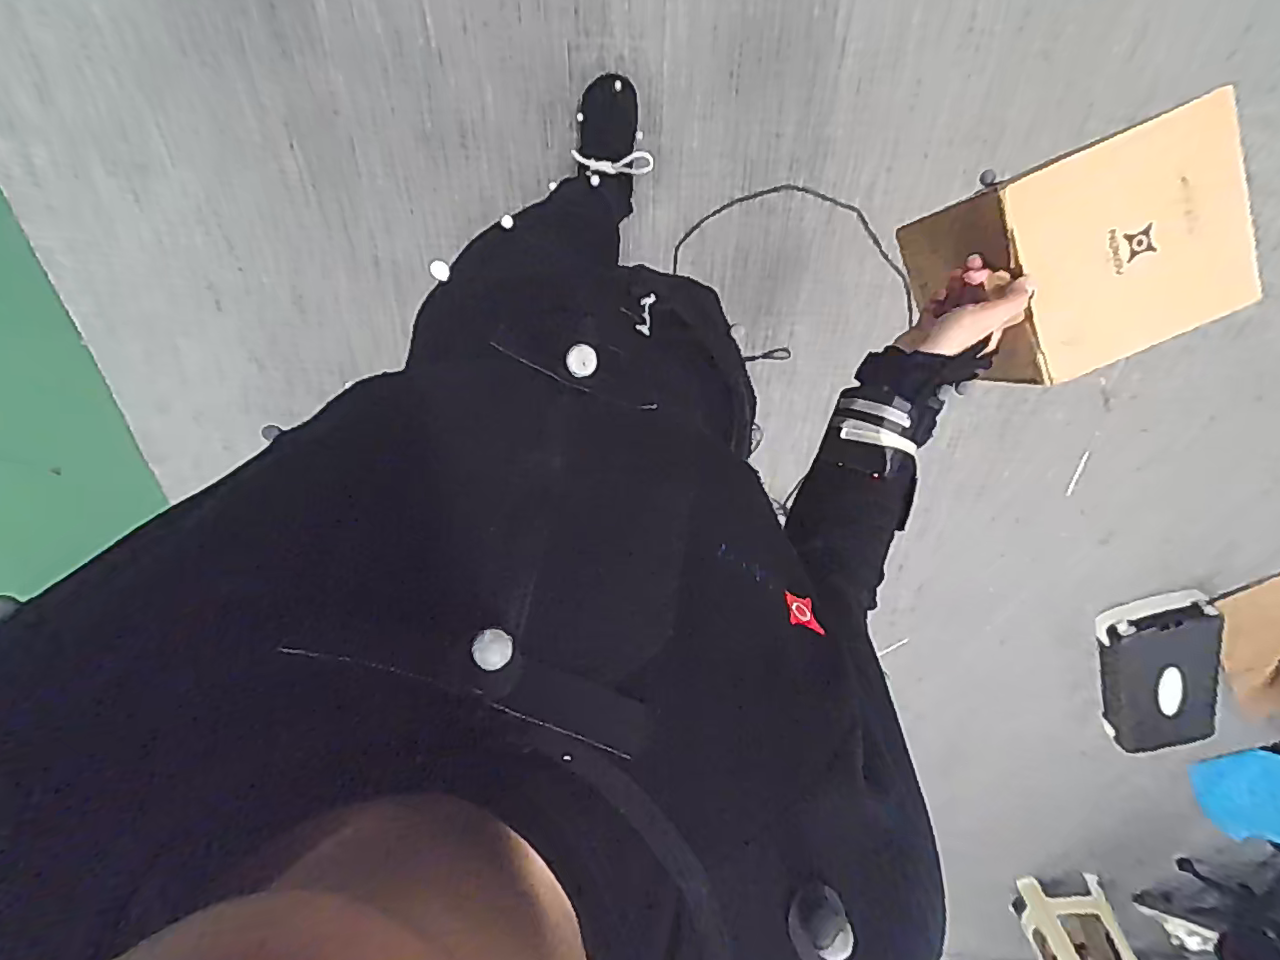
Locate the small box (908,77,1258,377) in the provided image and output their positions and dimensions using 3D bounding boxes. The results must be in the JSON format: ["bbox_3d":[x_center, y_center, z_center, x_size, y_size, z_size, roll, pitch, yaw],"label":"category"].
[{"bbox_3d":[0.374,-0.206,0.492,0.179,0.176,0.168,-25,104,3],"label":"small box"}]
